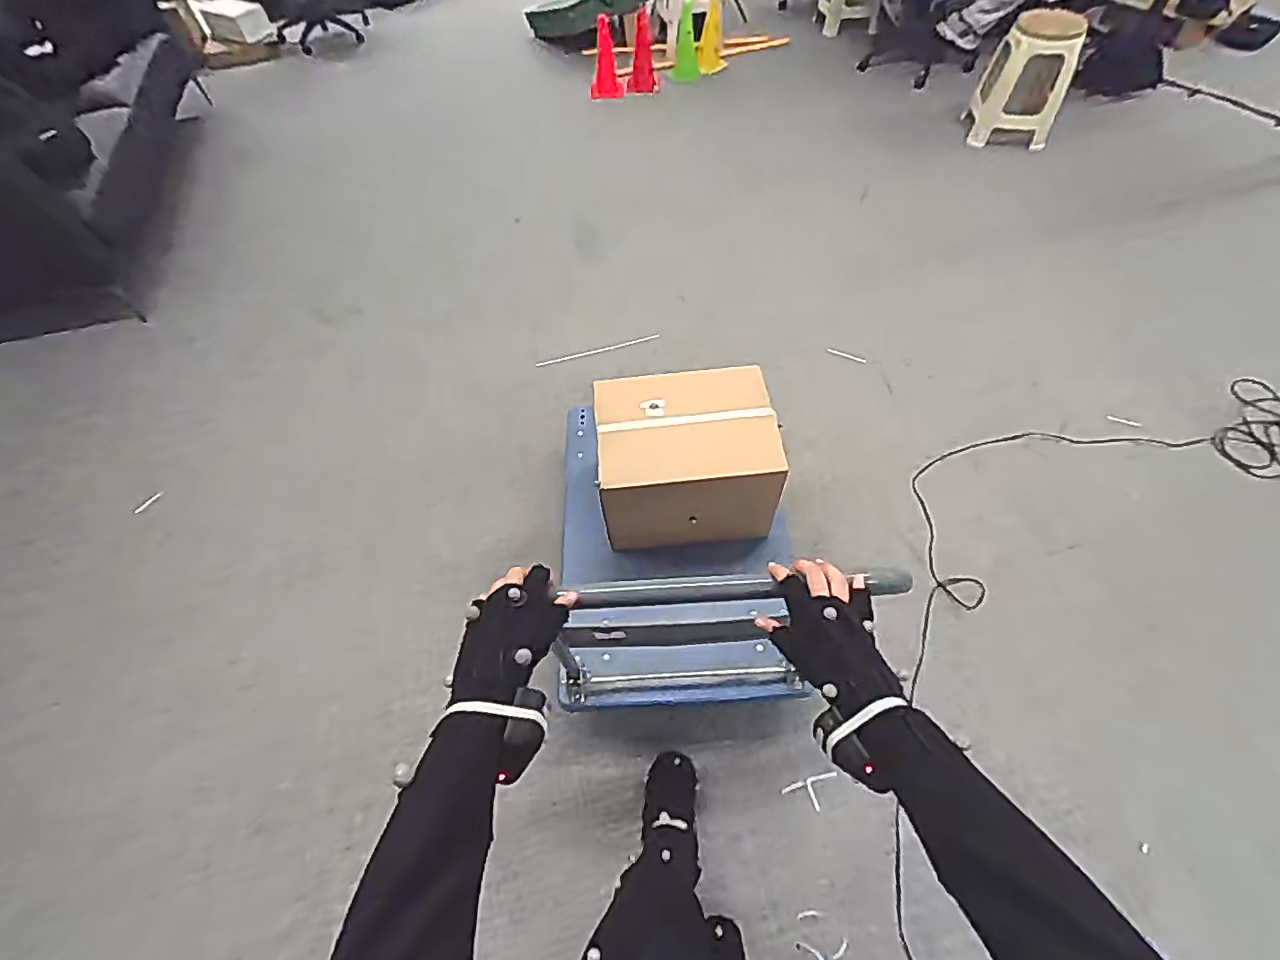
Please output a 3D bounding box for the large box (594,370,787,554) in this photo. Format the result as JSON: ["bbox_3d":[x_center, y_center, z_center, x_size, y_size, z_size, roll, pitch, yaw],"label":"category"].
[{"bbox_3d":[0.113,-0.034,1.353,0.408,0.320,0.320,-7,56,0],"label":"large box"}]
